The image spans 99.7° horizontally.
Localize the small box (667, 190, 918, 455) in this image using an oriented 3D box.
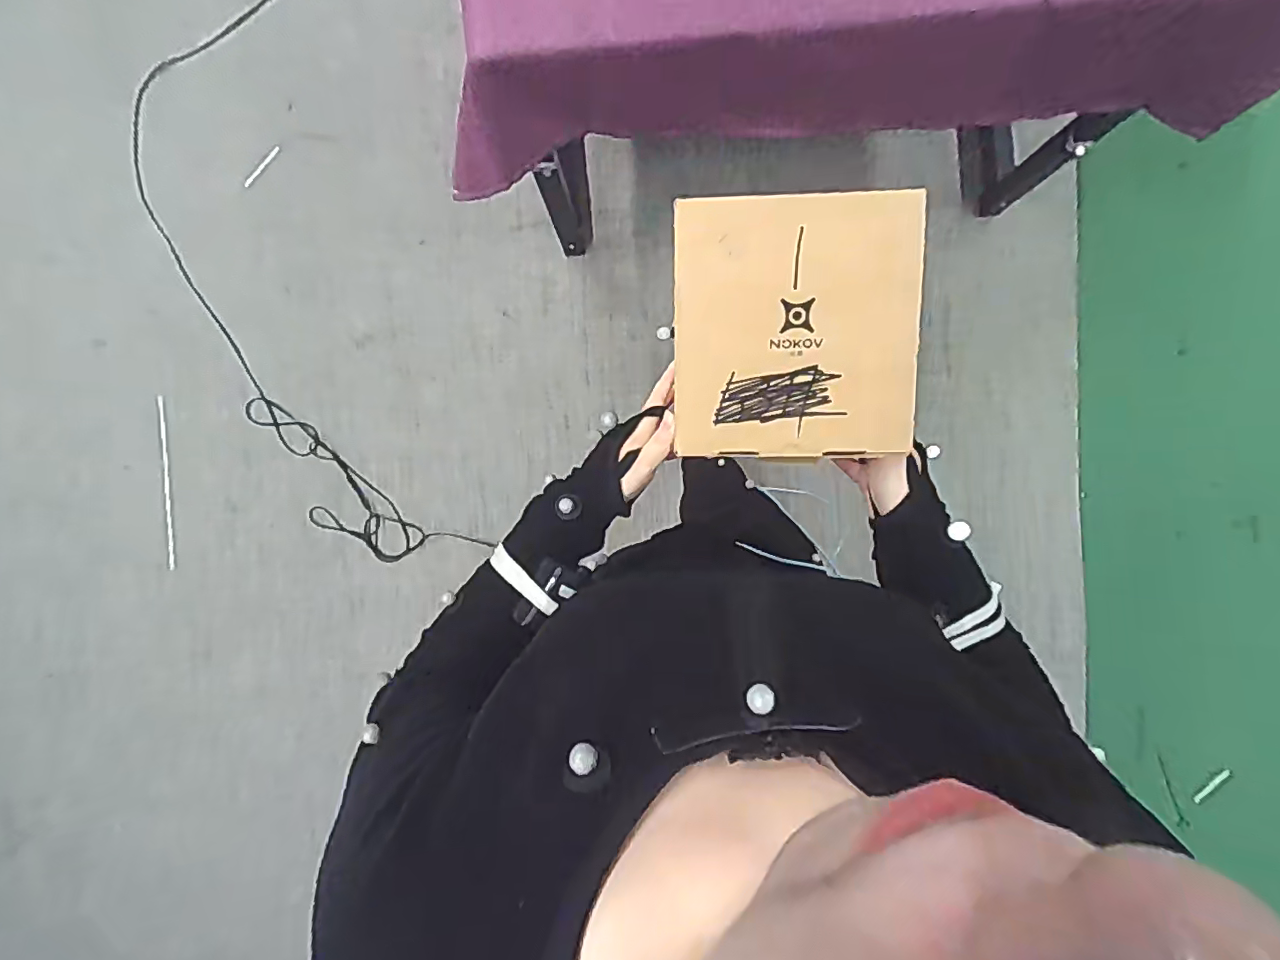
[{"bbox_3d":[0.108,-0.116,0.451,0.168,0.176,0.179,0,97,4],"label":"small box"}]
